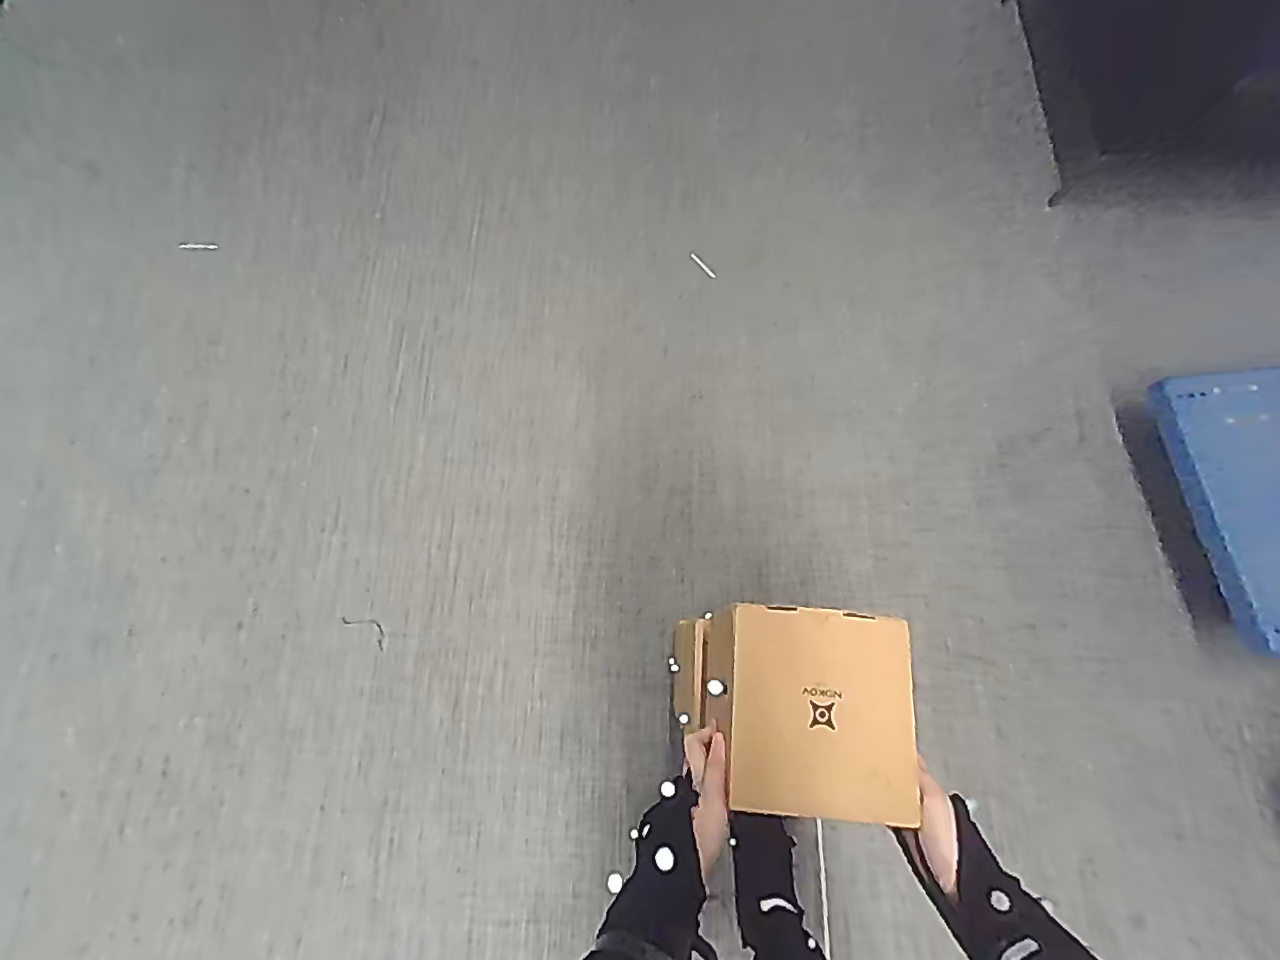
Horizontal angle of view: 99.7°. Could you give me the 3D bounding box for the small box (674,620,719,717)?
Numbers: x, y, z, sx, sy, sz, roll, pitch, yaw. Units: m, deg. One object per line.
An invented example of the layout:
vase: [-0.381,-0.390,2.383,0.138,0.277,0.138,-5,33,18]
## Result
small box: [0.157,0.380,1.092,0.168,0.176,0.179,2,72,2]

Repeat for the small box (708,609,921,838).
small box: [0.163,0.236,0.557,0.168,0.176,0.179,5,71,1]

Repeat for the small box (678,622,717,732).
small box: [0.156,0.338,0.933,0.179,0.176,0.168,3,74,1]
